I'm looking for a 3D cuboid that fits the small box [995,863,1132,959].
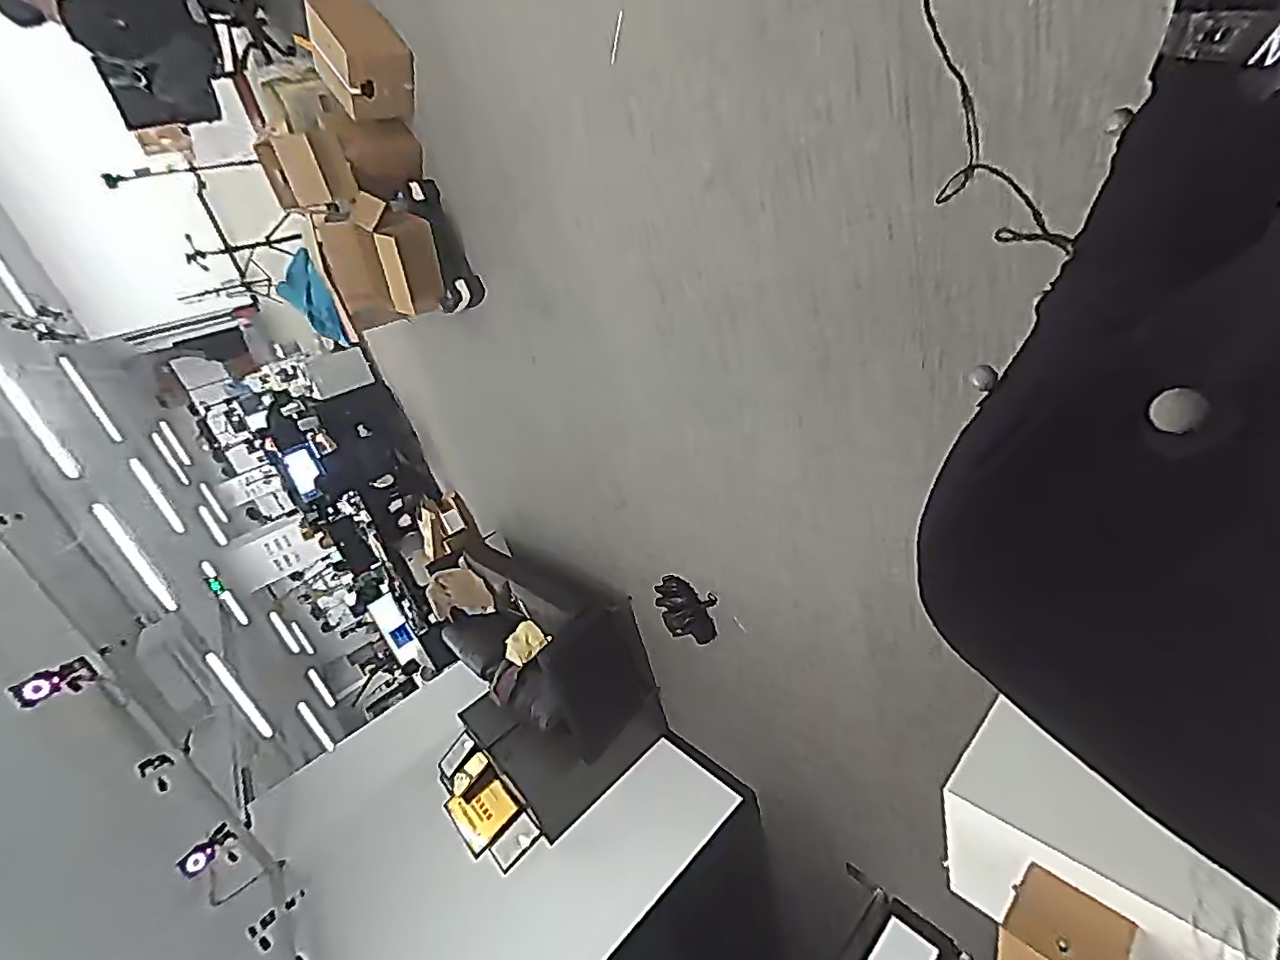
[{"bbox_3d":[0.838,0.922,1.073,0.179,0.176,0.168,16,128,50],"label":"small box"}]
